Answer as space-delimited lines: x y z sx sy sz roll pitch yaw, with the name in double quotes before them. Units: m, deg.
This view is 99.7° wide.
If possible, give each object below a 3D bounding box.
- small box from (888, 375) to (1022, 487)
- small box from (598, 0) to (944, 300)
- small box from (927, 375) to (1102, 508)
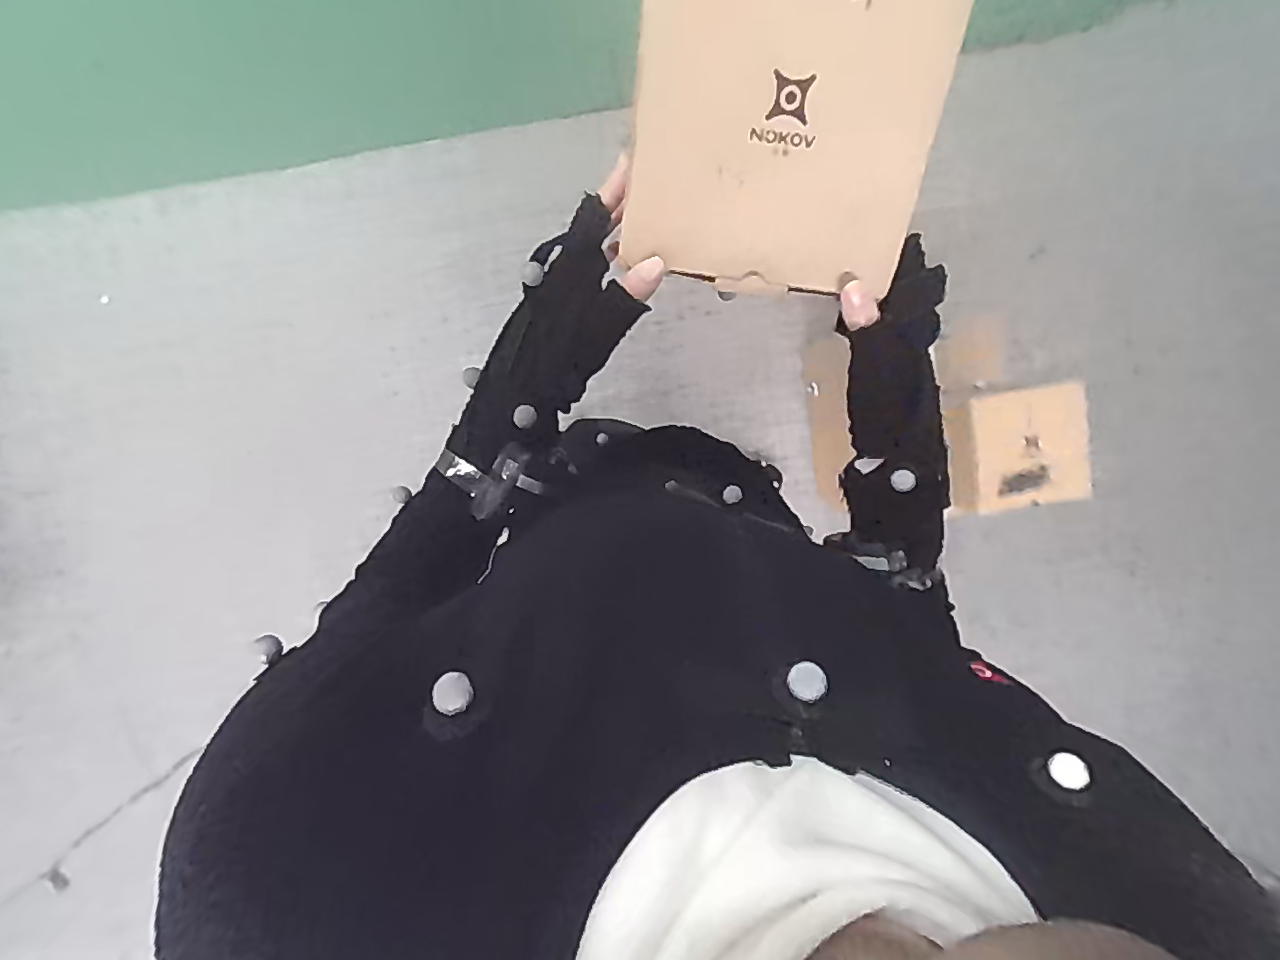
"small box" 0.586 -0.096 1.017 0.168 0.176 0.179 -9 100 3
"small box" 0.067 -0.231 0.365 0.168 0.176 0.179 5 115 -1
"small box" 0.580 -0.066 0.855 0.168 0.176 0.179 -9 97 3
